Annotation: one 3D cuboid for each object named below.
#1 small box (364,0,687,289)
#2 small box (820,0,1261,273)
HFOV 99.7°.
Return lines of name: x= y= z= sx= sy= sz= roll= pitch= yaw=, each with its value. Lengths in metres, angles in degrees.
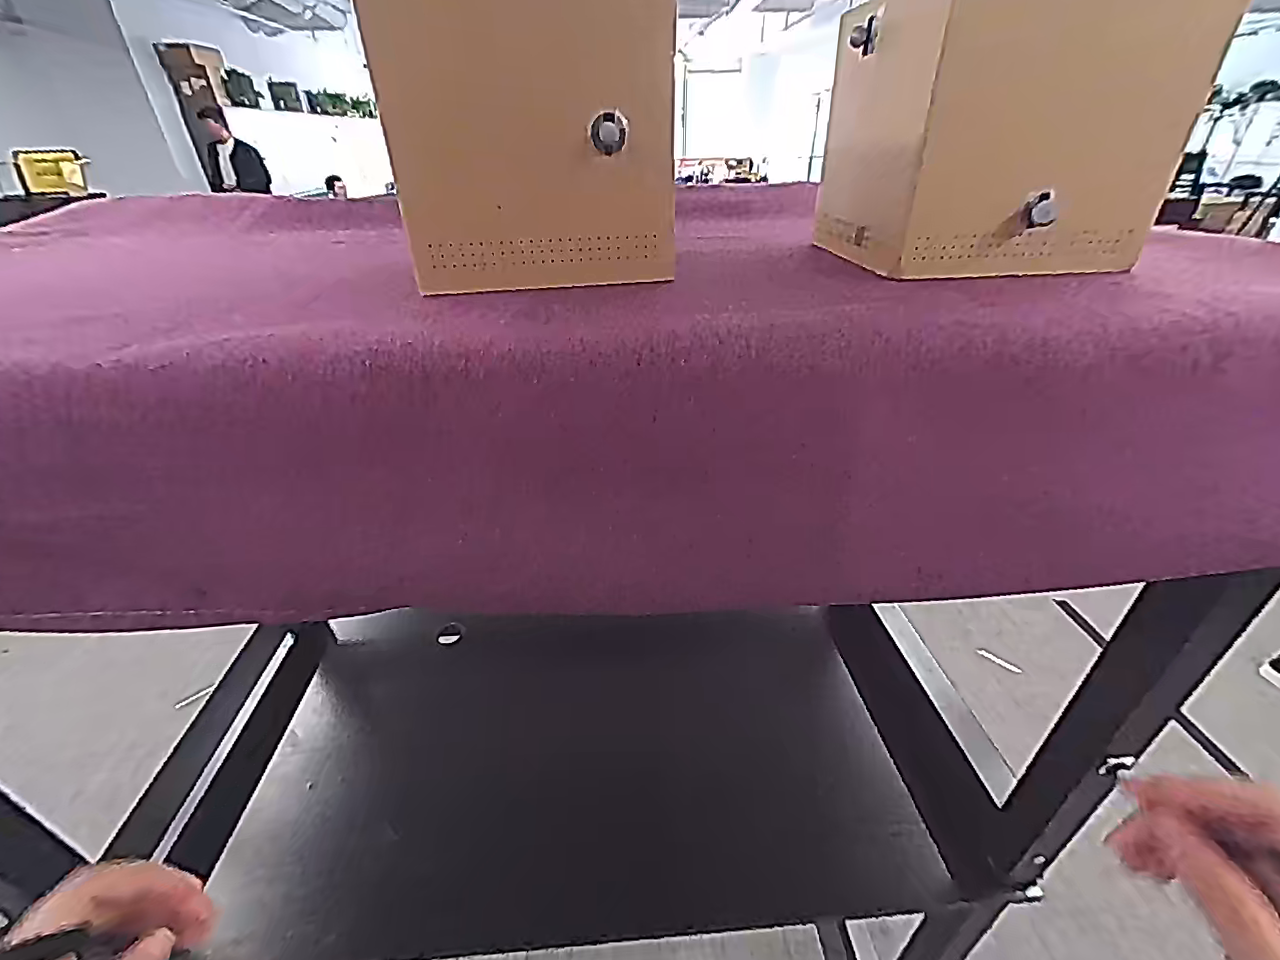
small box: x=-0.071 y=-0.245 z=0.393 sx=0.179 sy=0.176 sz=0.168 roll=-6 pitch=32 yaw=-8
small box: x=0.253 y=-0.254 z=0.393 sx=0.179 sy=0.176 sz=0.168 roll=-3 pitch=31 yaw=-3
